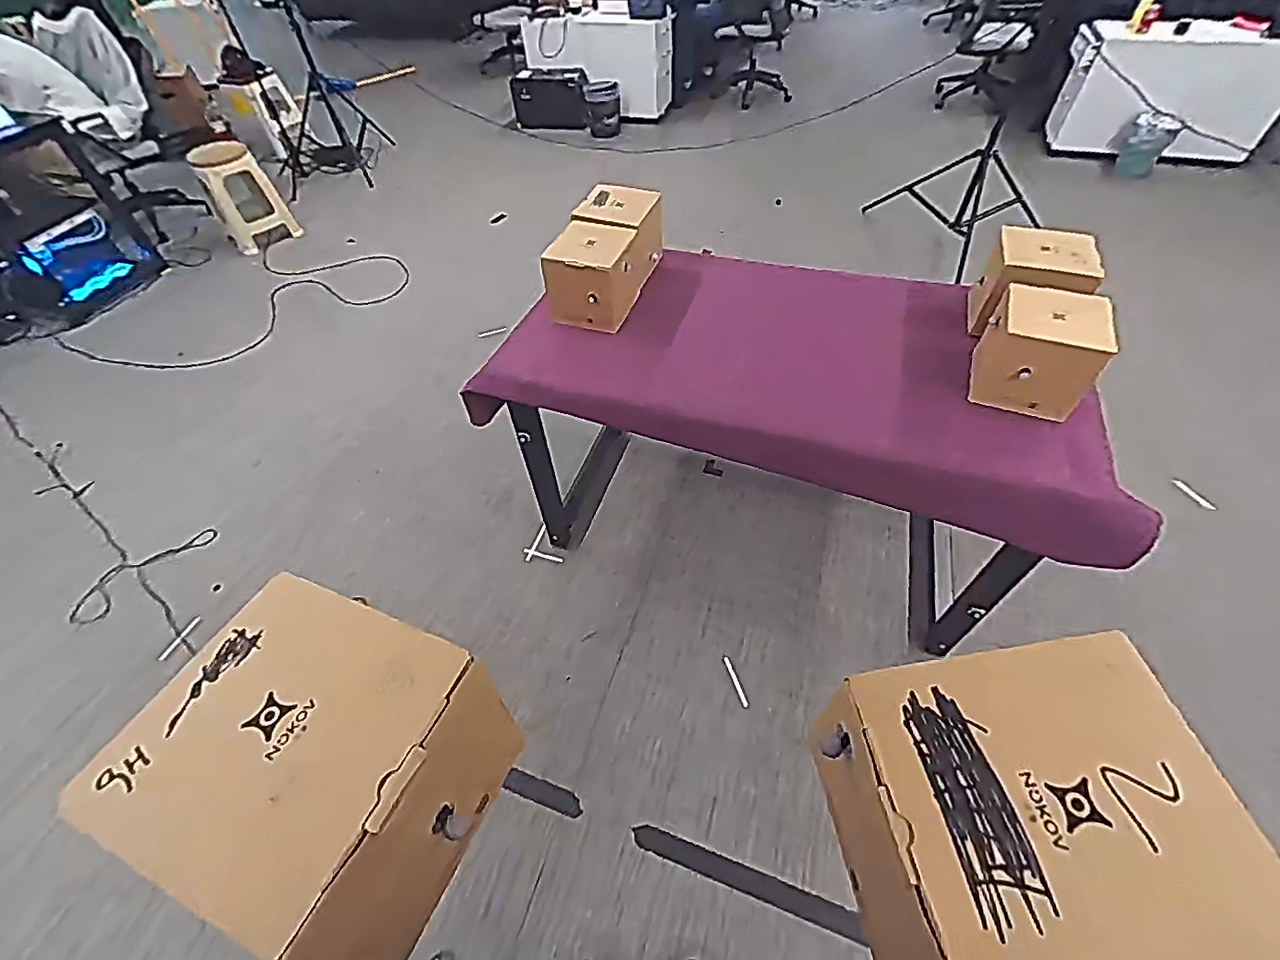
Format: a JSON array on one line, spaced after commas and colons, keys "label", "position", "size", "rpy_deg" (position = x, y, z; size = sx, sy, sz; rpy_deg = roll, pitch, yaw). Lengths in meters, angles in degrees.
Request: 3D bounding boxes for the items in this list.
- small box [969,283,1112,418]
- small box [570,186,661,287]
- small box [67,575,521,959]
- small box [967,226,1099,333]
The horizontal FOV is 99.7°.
[{"label": "small box", "position": [0.748, -0.243, 1.027], "size": [0.168, 0.176, 0.179], "rpy_deg": [17, 53, 17]}, {"label": "small box", "position": [-0.054, -0.611, 1.363], "size": [0.179, 0.176, 0.168], "rpy_deg": [16, 56, 14]}, {"label": "small box", "position": [-0.207, 0.201, 0.384], "size": [0.179, 0.176, 0.168], "rpy_deg": [17, 51, 16]}, {"label": "small box", "position": [0.822, -0.413, 1.152], "size": [0.179, 0.176, 0.168], "rpy_deg": [15, 54, 14]}]
